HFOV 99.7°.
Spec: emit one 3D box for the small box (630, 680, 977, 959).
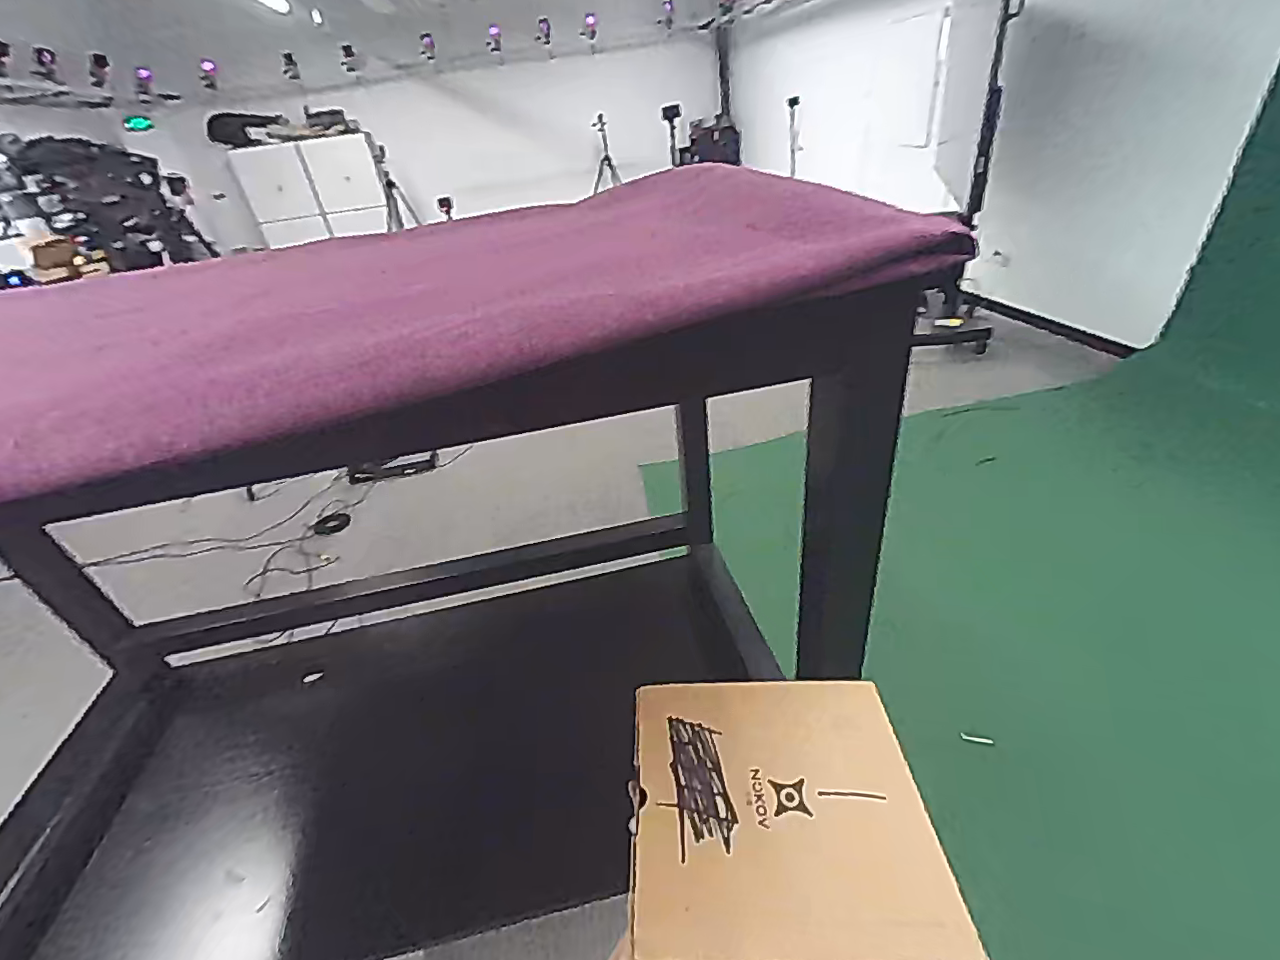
[{"bbox_3d":[0.088,0.263,0.378,0.179,0.176,0.168,-1,32,2],"label":"small box"}]
